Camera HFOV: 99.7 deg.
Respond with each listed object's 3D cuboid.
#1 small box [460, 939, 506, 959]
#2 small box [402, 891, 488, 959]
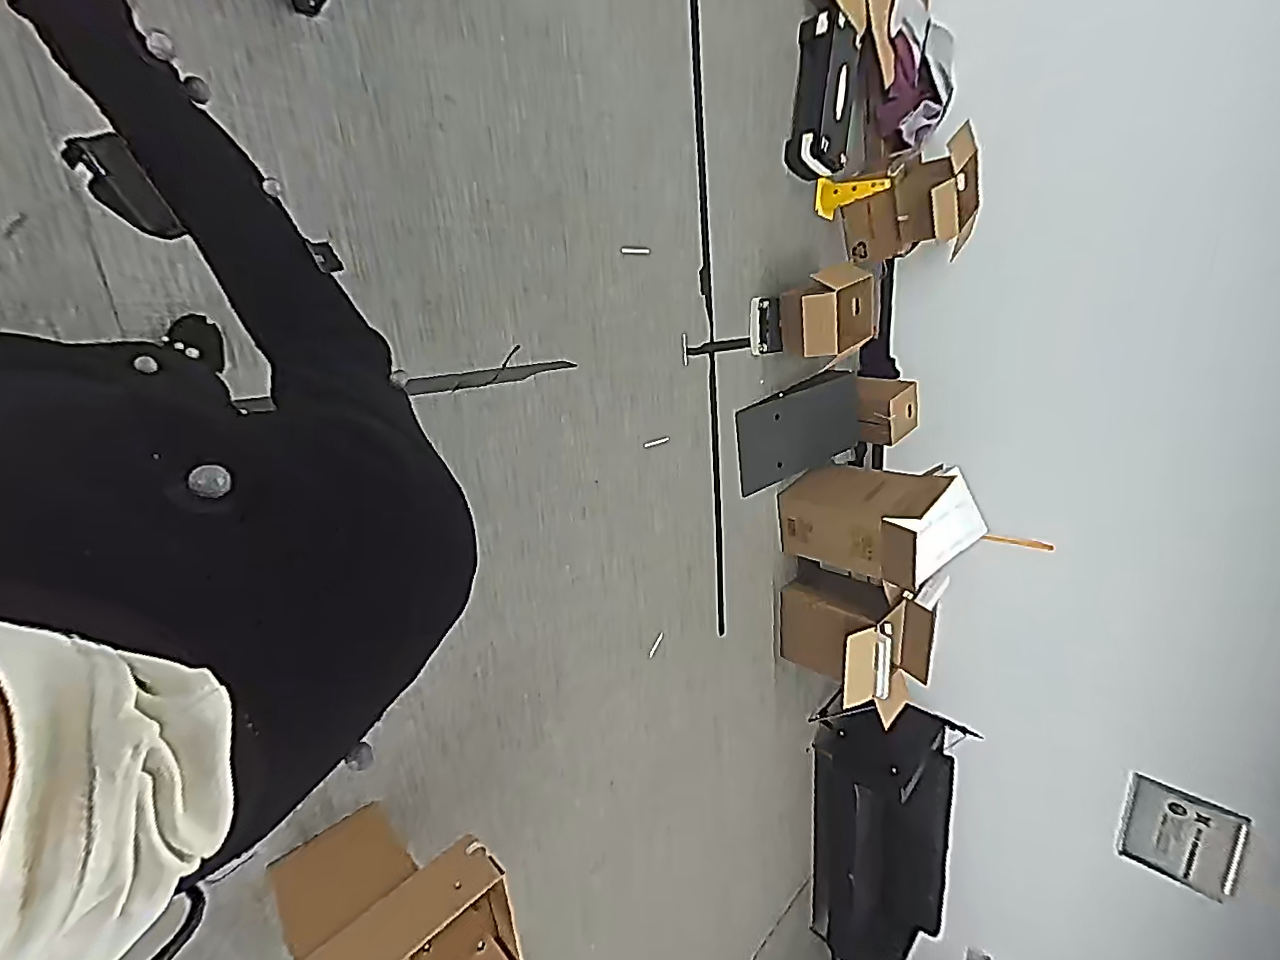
[{"bbox_3d":[-0.398,1.312,1.351,0.168,0.176,0.179,-25,118,-40],"label":"small box"},{"bbox_3d":[-0.518,1.281,1.459,0.179,0.176,0.168,-27,118,-40],"label":"small box"}]
